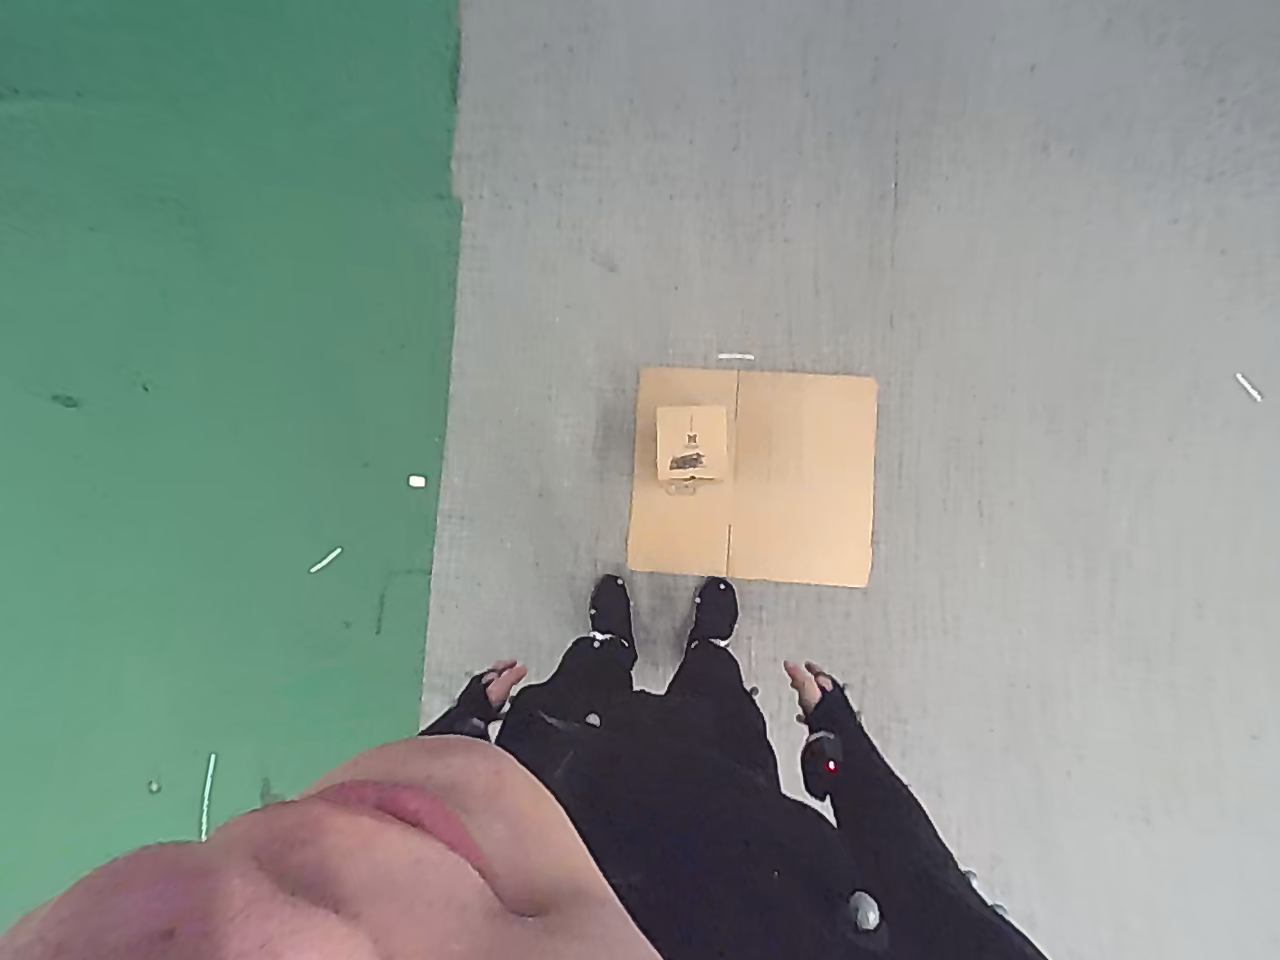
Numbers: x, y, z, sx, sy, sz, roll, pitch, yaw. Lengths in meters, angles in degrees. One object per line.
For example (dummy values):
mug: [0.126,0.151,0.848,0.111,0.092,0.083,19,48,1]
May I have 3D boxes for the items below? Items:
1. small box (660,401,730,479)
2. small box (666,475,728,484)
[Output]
small box: [0.137,-0.093,1.338,0.168,0.176,0.179,-1,86,5]
small box: [0.151,-0.083,1.501,0.168,0.176,0.179,-4,87,5]
